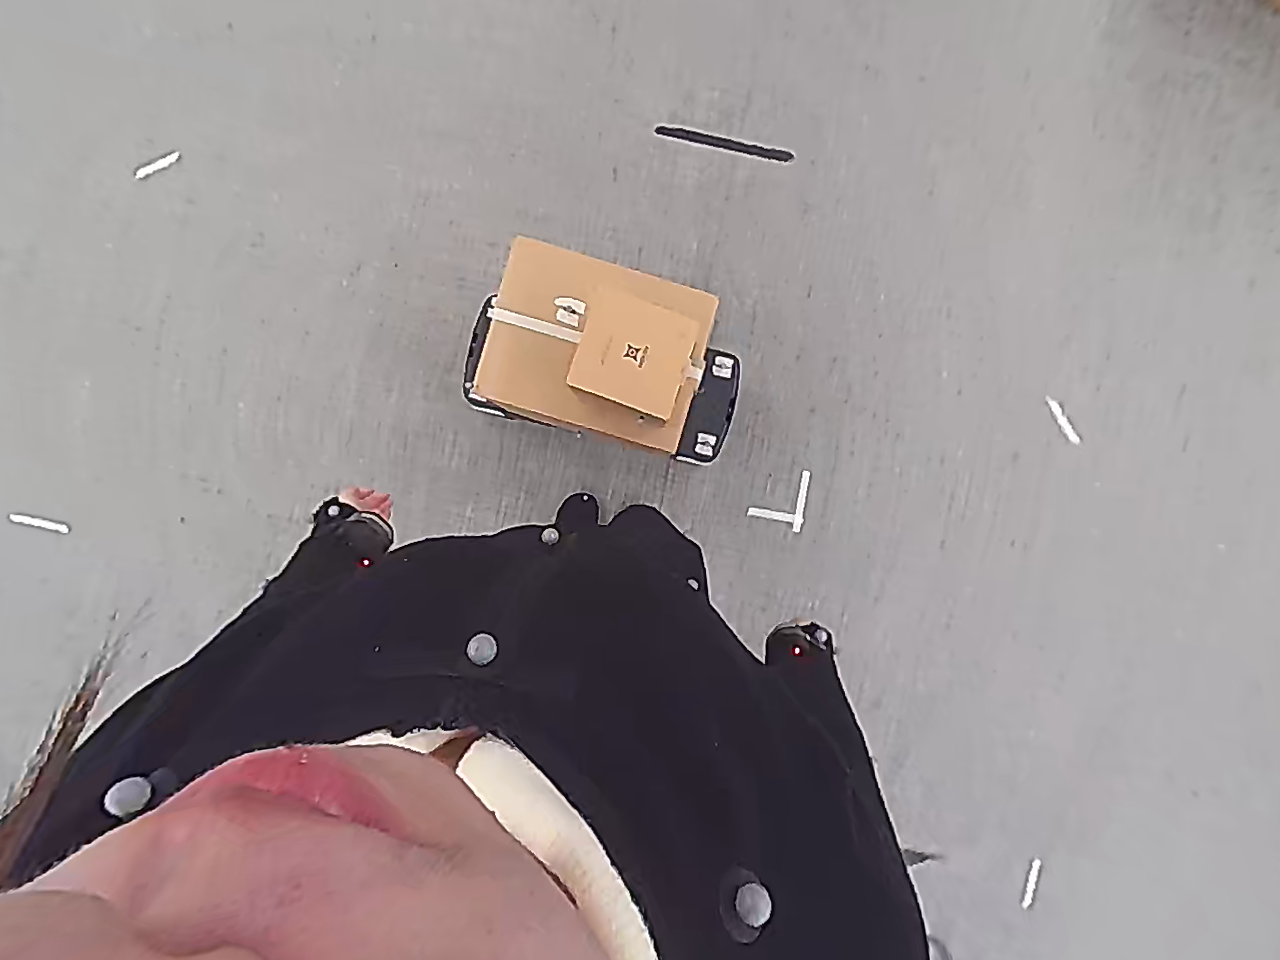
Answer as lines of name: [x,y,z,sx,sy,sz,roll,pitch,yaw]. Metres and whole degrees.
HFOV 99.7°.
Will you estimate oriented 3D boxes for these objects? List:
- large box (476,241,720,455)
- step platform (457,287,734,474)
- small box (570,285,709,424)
large box: [-0.078,-0.251,1.159,0.408,0.320,0.320,16,89,-1]
step platform: [-0.107,-0.247,1.397,0.684,0.204,0.286,19,90,-1]
small box: [-0.002,-0.199,0.917,0.179,0.176,0.168,20,91,-1]
